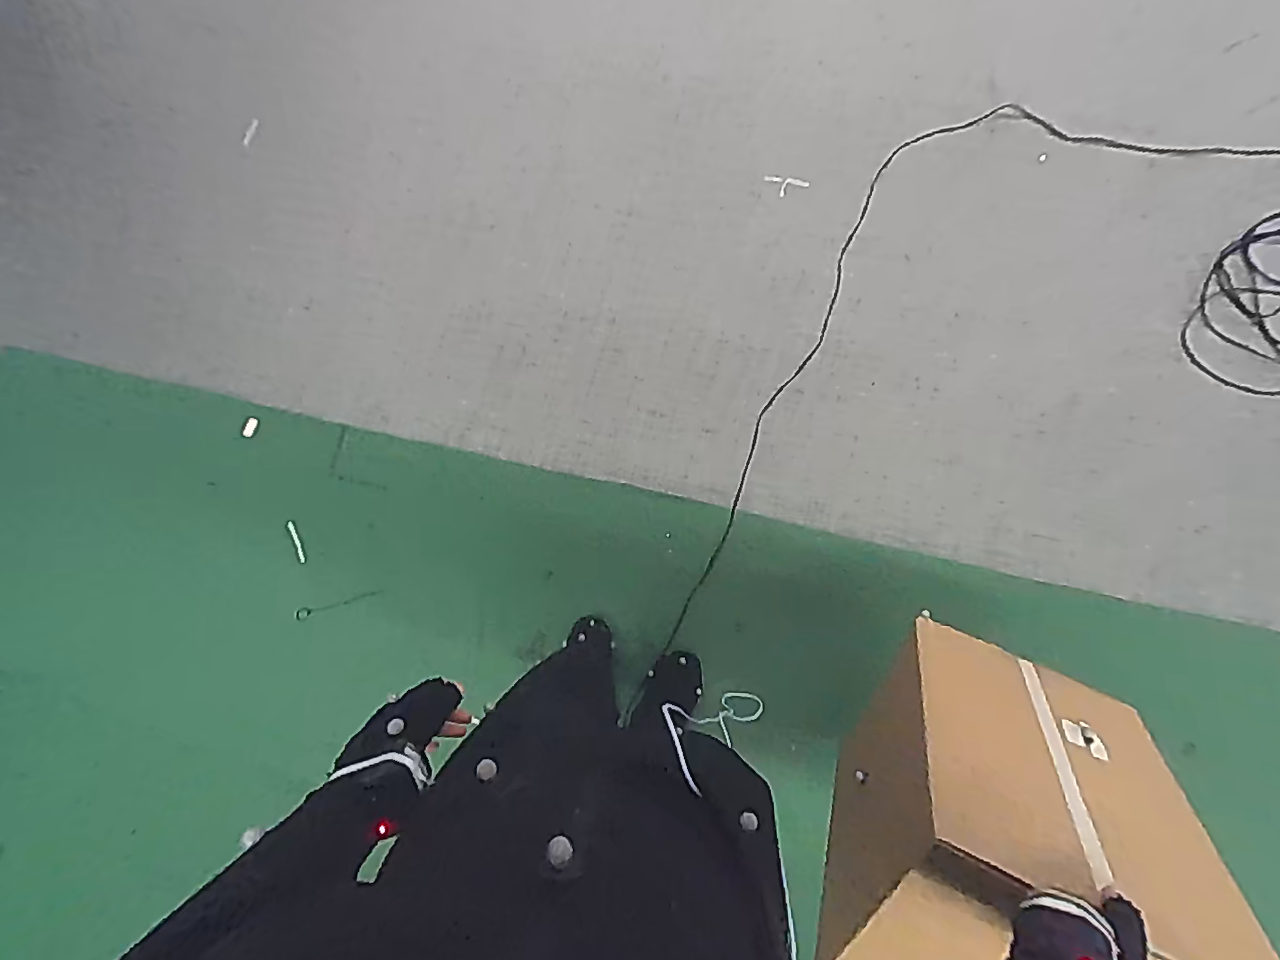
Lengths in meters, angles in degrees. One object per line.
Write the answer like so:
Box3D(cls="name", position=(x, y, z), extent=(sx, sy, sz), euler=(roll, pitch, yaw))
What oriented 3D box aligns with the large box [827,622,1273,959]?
Box3D(cls="large box", position=(0.464, 0.474, 0.717), extent=(0.320, 0.408, 0.320), euler=(23, 116, 15))
